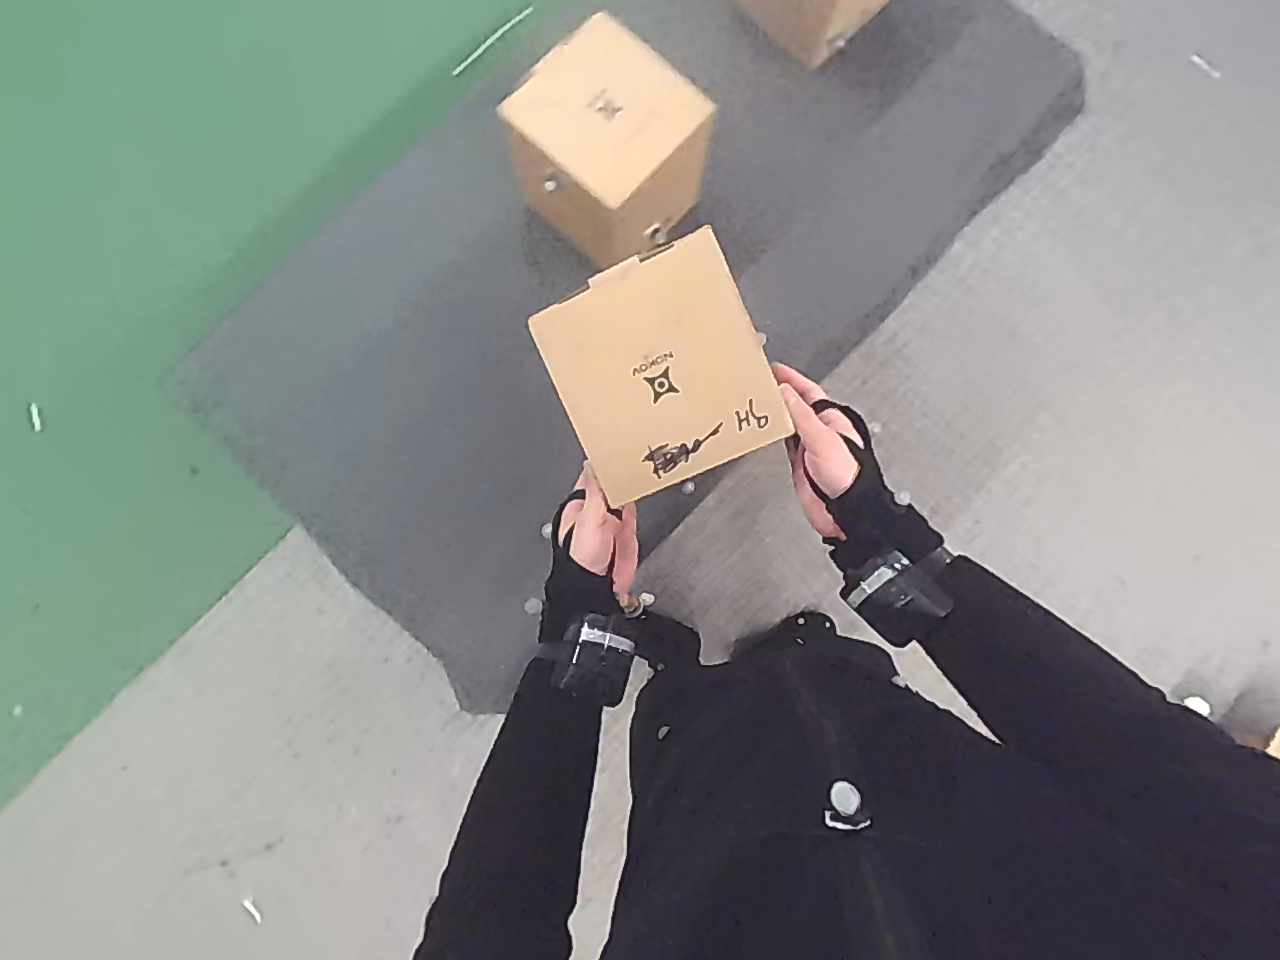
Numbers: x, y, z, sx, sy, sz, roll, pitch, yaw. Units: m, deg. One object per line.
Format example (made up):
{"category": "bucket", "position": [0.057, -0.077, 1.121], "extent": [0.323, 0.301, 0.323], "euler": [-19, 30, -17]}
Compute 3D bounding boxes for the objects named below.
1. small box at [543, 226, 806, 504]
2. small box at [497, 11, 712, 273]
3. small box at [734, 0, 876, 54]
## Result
{"category": "small box", "position": [0.037, -0.098, 0.508], "extent": [0.168, 0.176, 0.179], "euler": [-22, 95, 12]}
{"category": "small box", "position": [-0.041, -0.392, 0.660], "extent": [0.179, 0.176, 0.168], "euler": [42, 85, 2]}
{"category": "small box", "position": [0.235, -0.708, 0.698], "extent": [0.179, 0.176, 0.168], "euler": [44, 85, 4]}
